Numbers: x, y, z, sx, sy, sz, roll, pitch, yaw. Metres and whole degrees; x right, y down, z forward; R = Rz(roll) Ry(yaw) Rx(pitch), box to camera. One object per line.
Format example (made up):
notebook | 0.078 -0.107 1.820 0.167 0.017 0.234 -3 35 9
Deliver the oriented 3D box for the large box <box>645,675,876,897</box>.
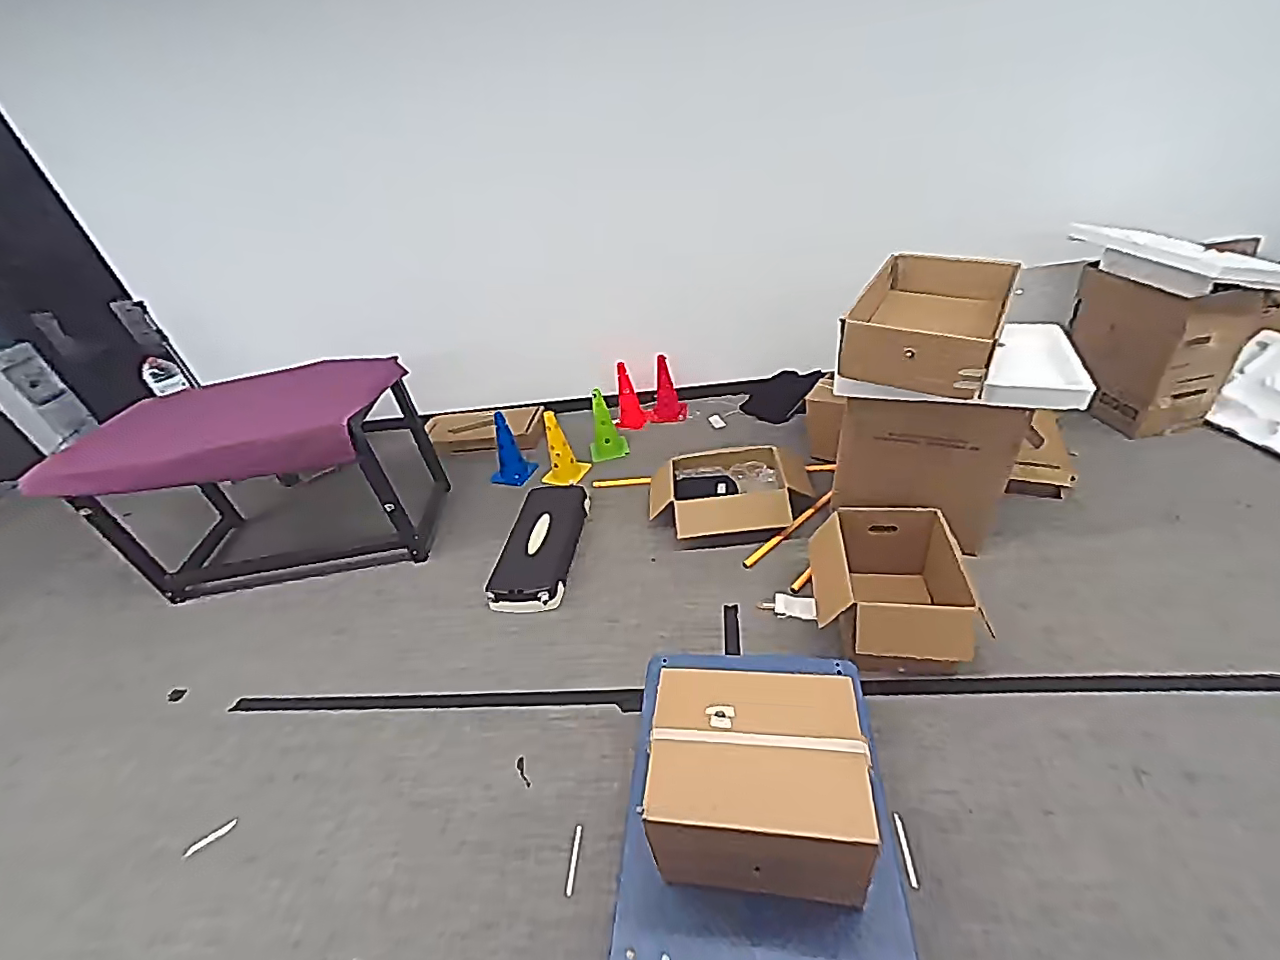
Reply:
large box | 0.248 0.638 1.147 0.408 0.320 0.320 -3 35 12
